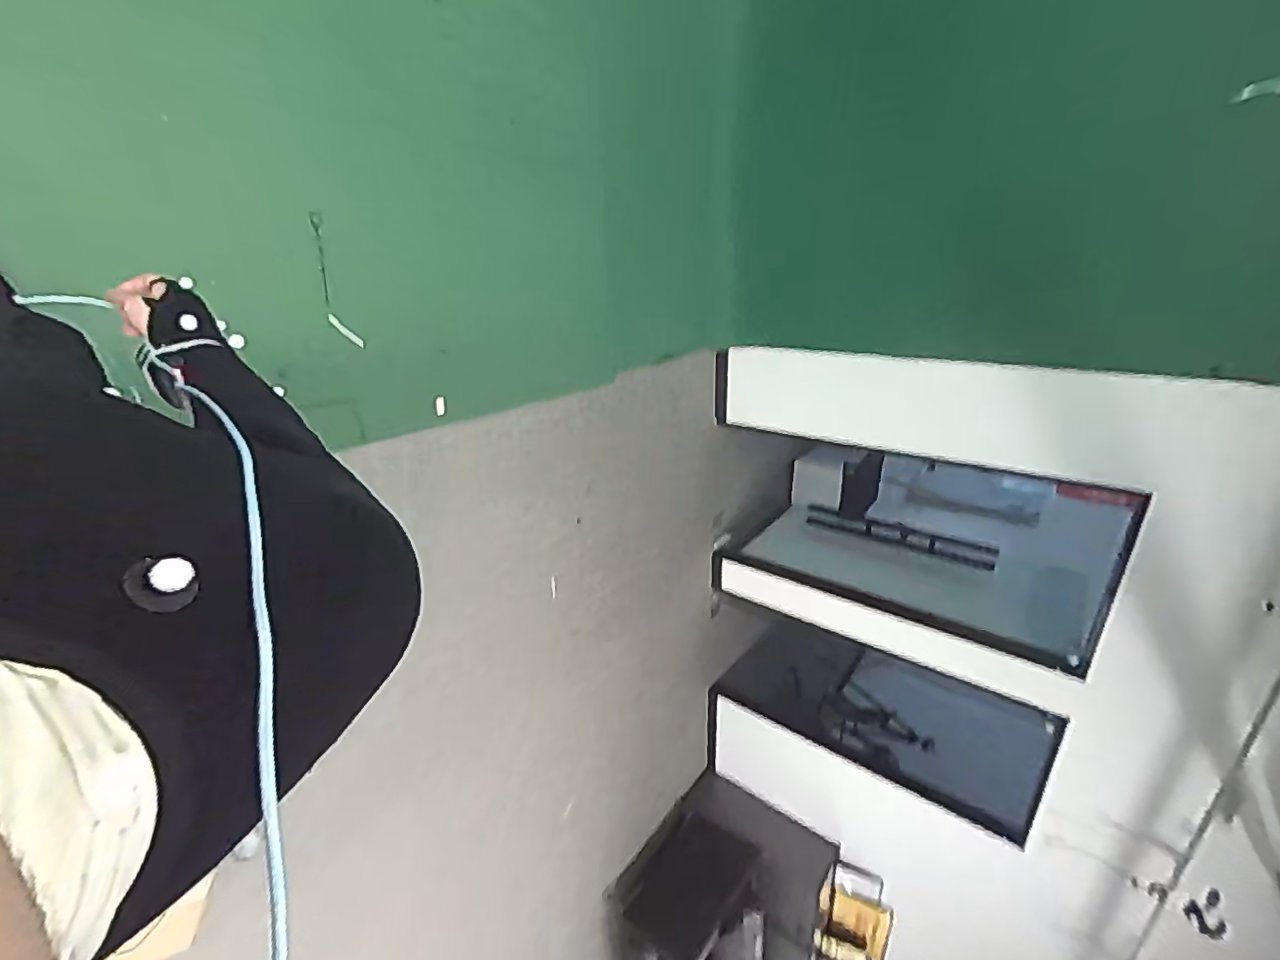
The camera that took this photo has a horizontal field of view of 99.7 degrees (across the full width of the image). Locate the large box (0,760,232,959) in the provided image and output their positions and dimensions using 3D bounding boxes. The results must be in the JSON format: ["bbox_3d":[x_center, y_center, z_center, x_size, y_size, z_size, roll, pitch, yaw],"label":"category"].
[{"bbox_3d":[-1.261,0.898,1.231,0.408,0.320,0.320,21,85,-55],"label":"large box"}]
